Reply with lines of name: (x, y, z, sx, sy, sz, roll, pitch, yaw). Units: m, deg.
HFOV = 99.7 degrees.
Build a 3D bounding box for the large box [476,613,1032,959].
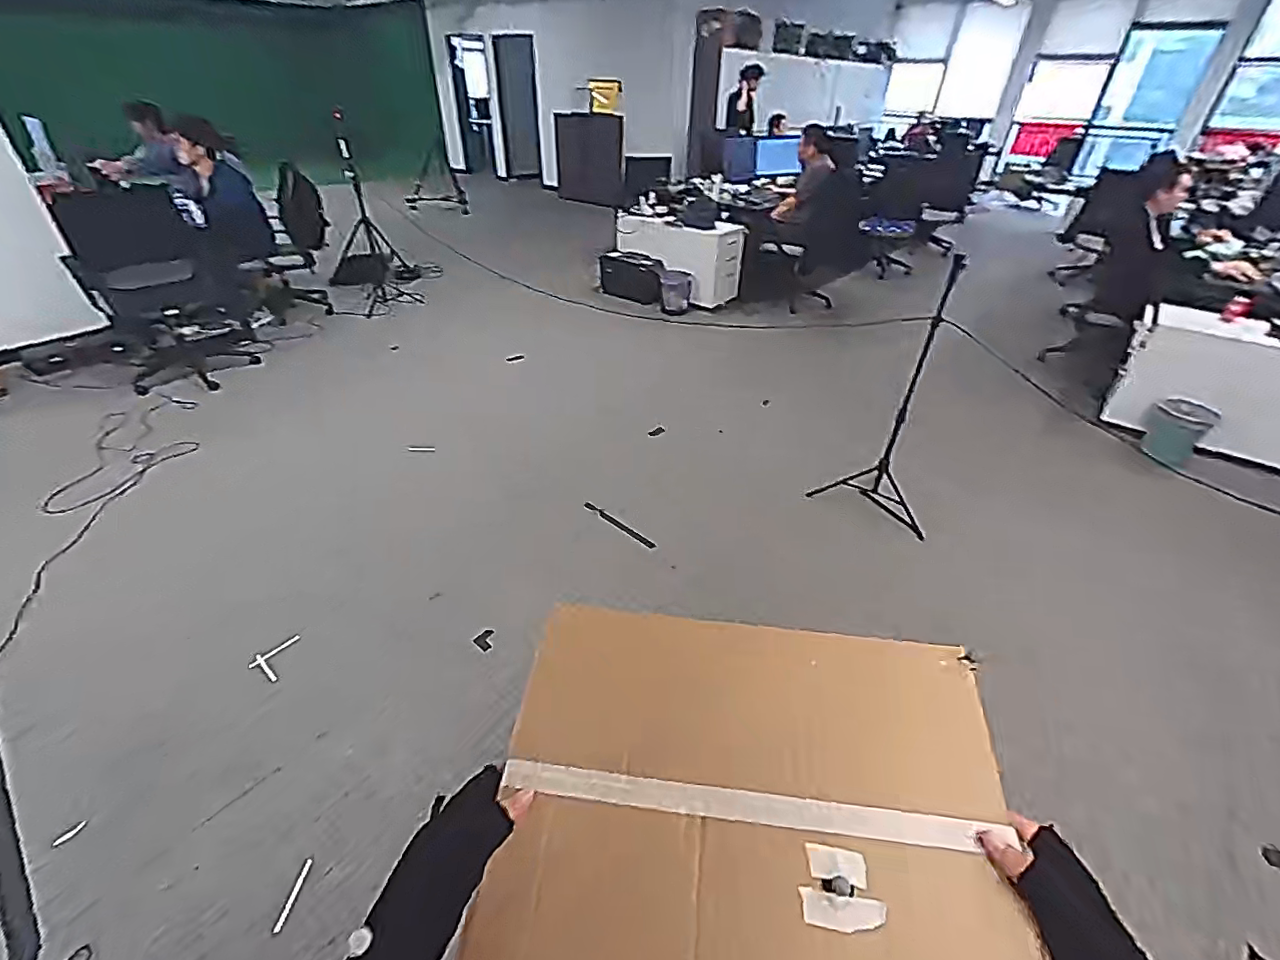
large box: (0.094, 0.364, 0.563, 0.408, 0.320, 0.320, 4, 51, 6)
